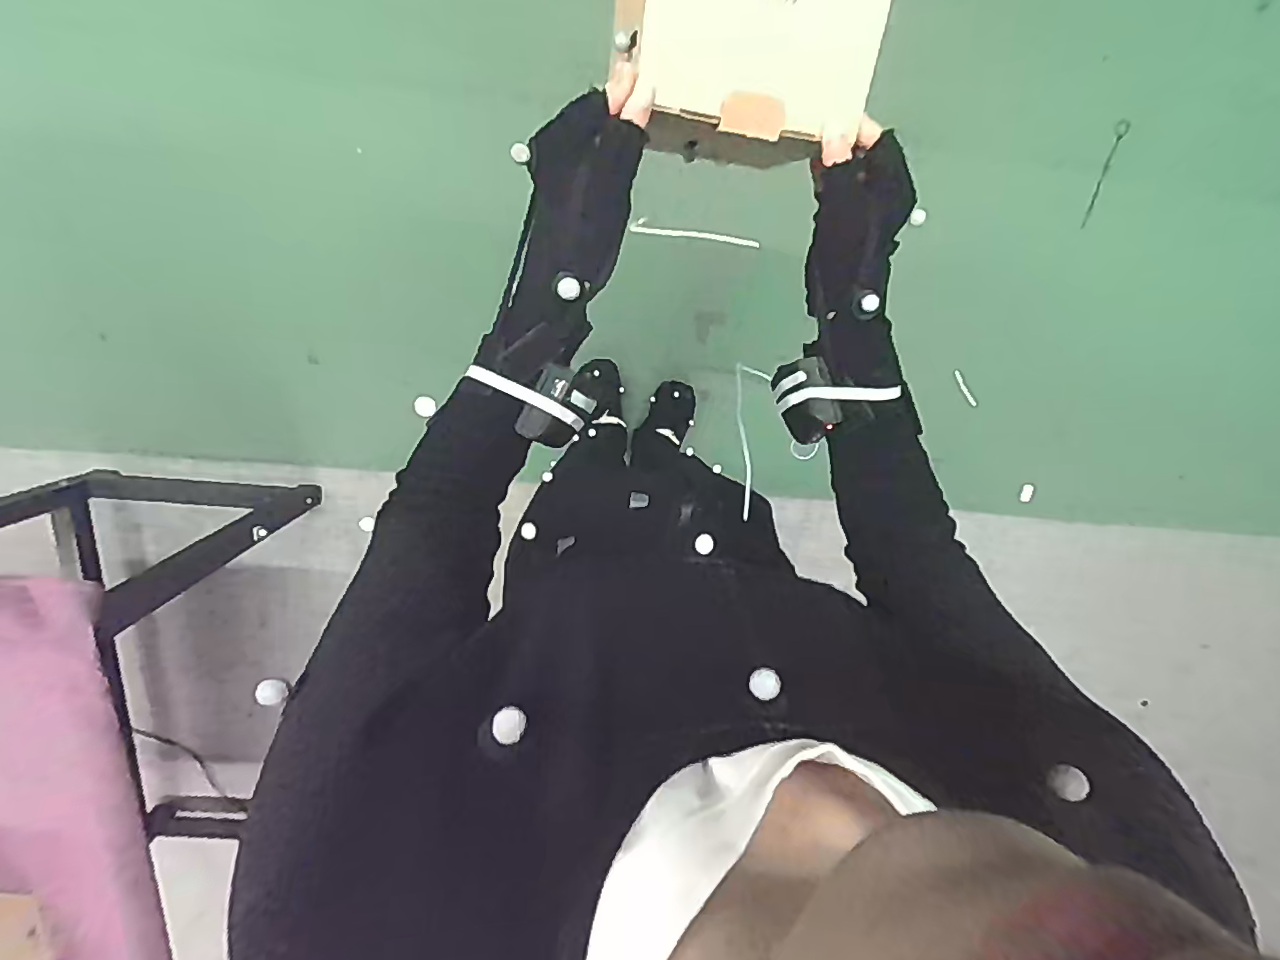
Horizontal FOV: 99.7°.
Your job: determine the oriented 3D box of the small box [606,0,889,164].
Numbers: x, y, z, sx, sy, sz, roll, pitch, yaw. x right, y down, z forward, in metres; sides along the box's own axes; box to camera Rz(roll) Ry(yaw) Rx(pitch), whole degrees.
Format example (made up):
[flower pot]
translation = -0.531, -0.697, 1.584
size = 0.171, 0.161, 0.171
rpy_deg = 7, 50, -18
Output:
[small box]
translation = 0.070, -0.358, 0.408
size = 0.168, 0.176, 0.179
rpy_deg = 3, 115, -12
